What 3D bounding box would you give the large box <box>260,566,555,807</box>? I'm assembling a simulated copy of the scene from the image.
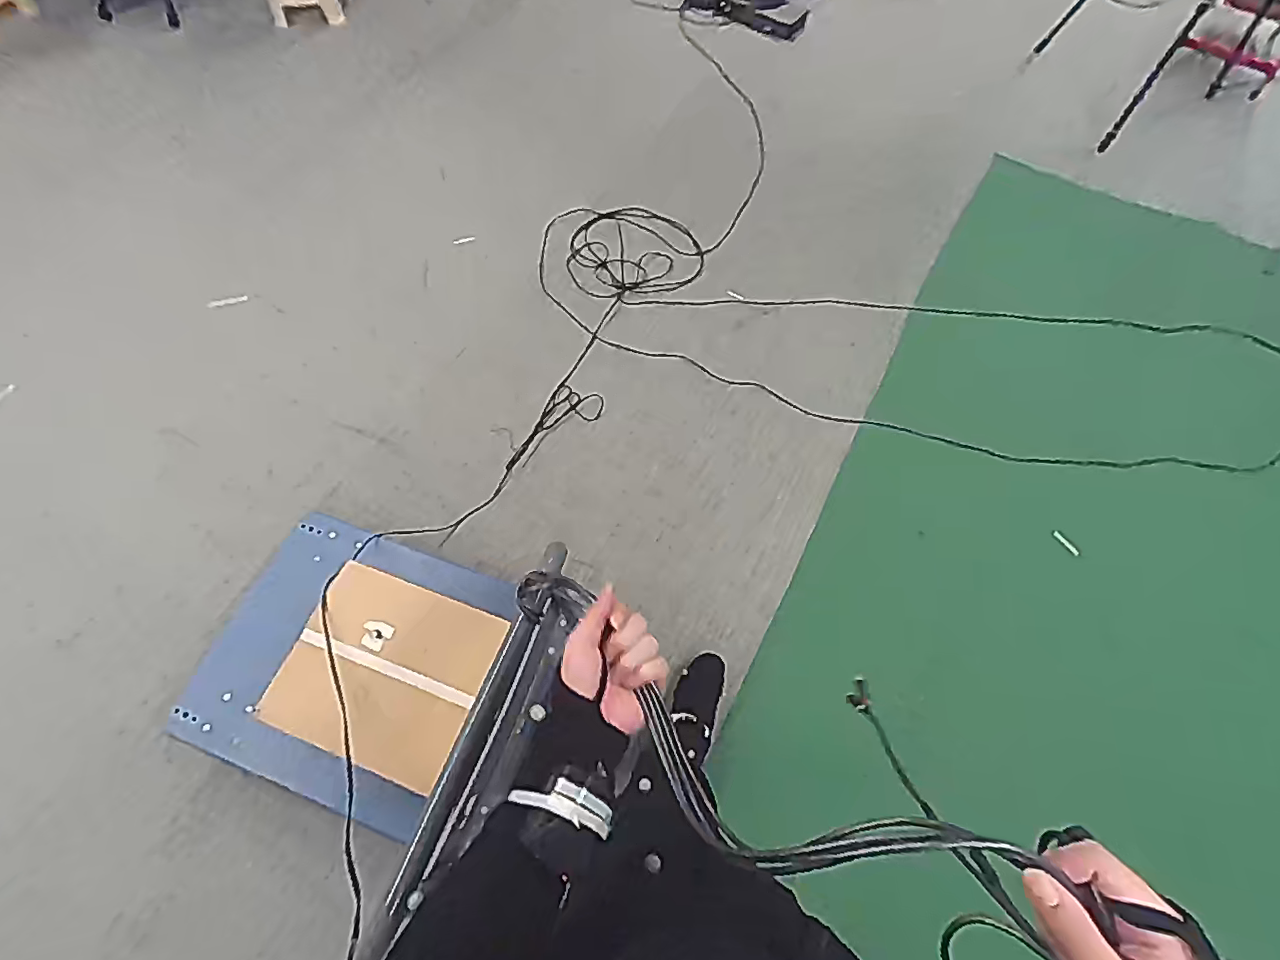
[{"bbox_3d":[-0.431,0.420,1.114,0.408,0.320,0.320,18,65,9],"label":"large box"}]
